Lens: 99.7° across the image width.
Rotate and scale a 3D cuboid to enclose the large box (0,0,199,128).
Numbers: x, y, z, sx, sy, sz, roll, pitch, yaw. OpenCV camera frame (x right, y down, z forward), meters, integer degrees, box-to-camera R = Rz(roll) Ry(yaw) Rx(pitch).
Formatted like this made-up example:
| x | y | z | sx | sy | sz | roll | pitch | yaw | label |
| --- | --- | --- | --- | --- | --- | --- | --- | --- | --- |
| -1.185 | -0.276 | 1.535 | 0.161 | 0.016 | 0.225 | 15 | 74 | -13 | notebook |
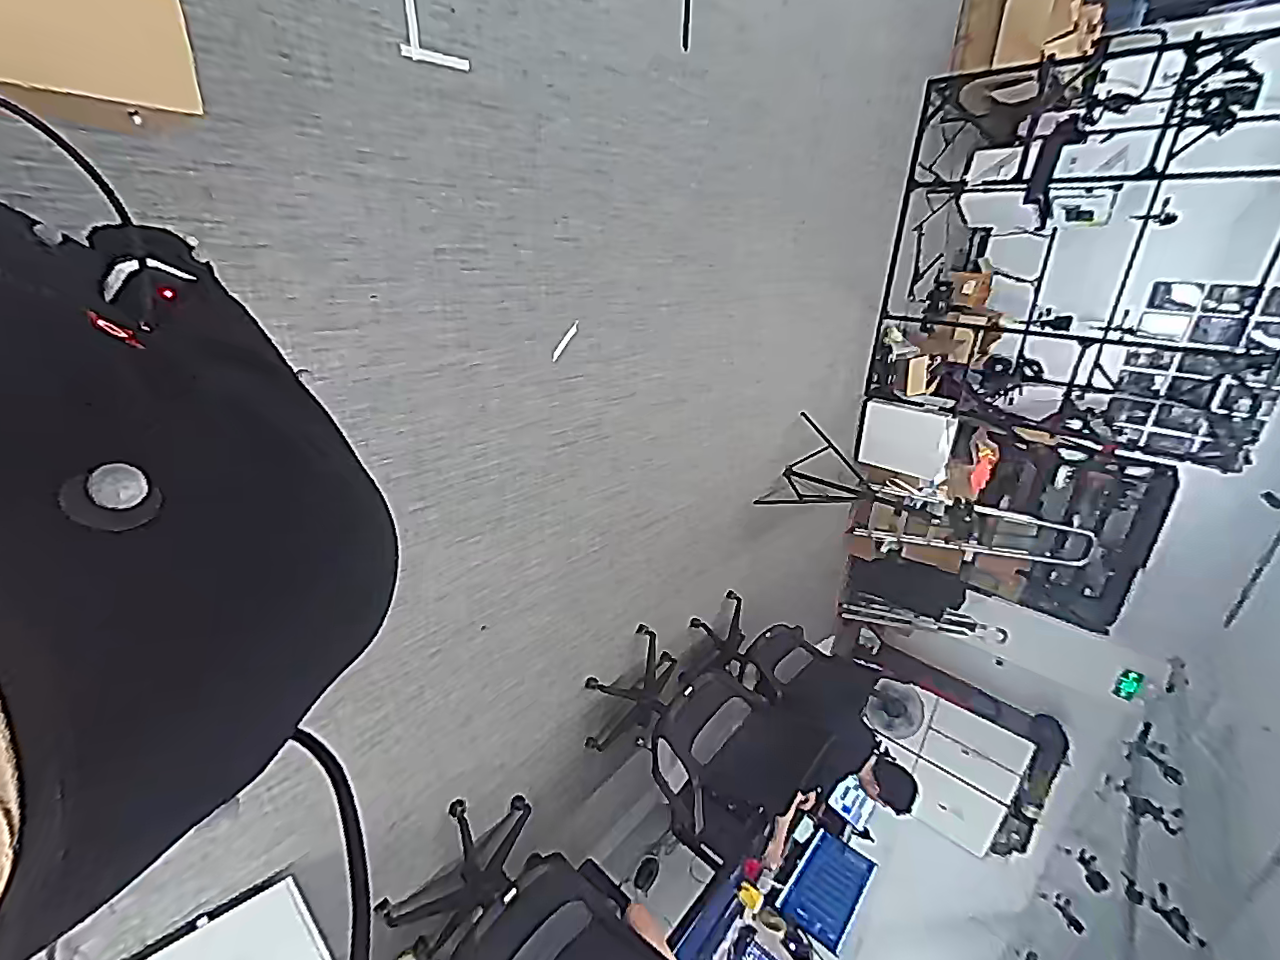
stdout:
| x | y | z | sx | sy | sz | roll | pitch | yaw | label |
| --- | --- | --- | --- | --- | --- | --- | --- | --- | --- |
| -0.882 | -0.663 | 0.683 | 0.408 | 0.320 | 0.320 | -23 | 124 | -45 | large box |
